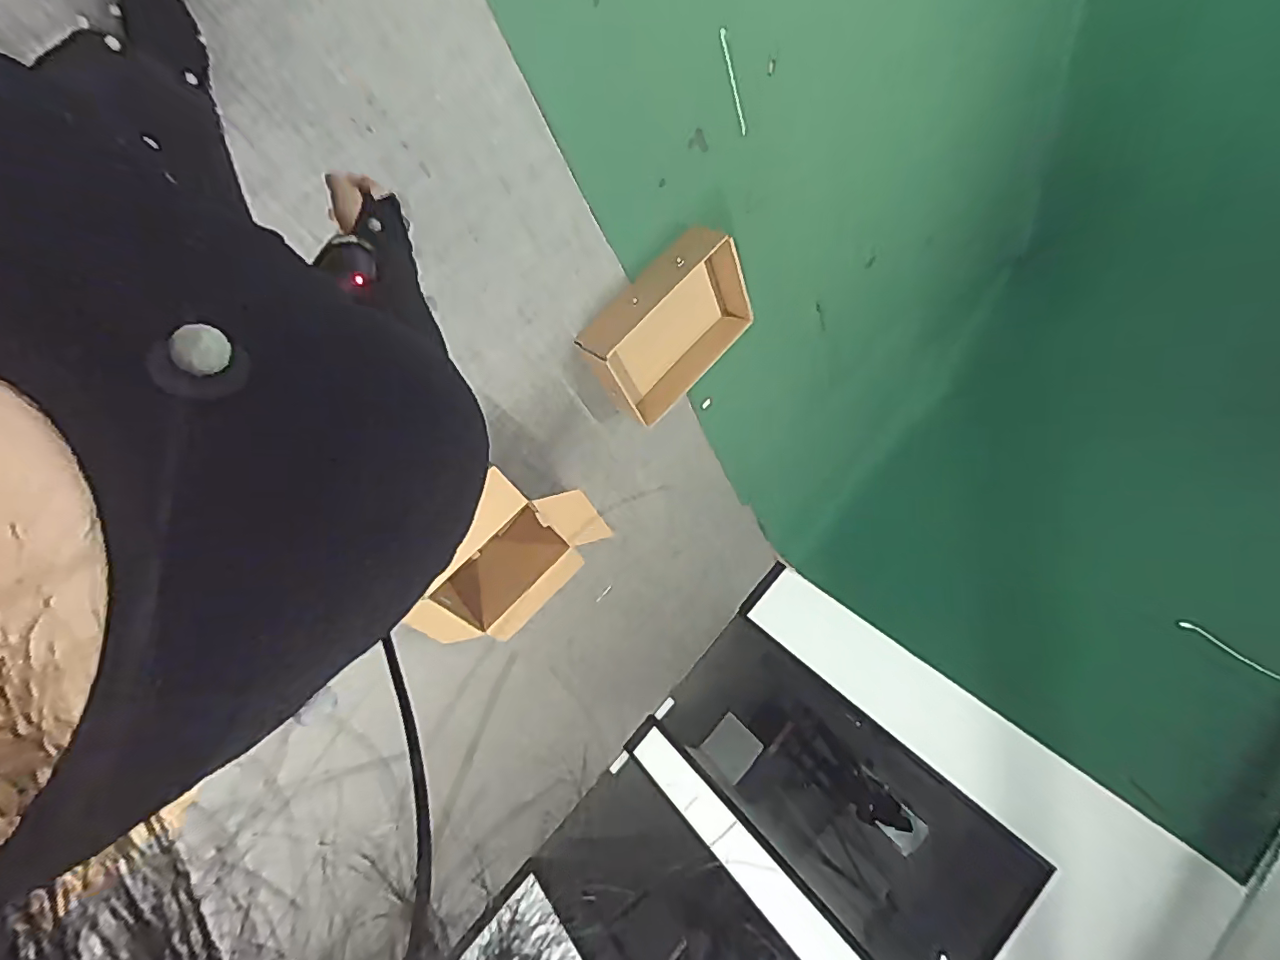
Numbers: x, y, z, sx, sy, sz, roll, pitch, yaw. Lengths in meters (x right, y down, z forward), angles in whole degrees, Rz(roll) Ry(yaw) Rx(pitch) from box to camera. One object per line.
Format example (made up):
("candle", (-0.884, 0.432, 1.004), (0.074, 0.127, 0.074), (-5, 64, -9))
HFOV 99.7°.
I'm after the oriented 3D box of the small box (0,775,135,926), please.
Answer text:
("small box", (-1.202, 0.751, 1.109), (0.179, 0.176, 0.168), (-35, 138, -26))
